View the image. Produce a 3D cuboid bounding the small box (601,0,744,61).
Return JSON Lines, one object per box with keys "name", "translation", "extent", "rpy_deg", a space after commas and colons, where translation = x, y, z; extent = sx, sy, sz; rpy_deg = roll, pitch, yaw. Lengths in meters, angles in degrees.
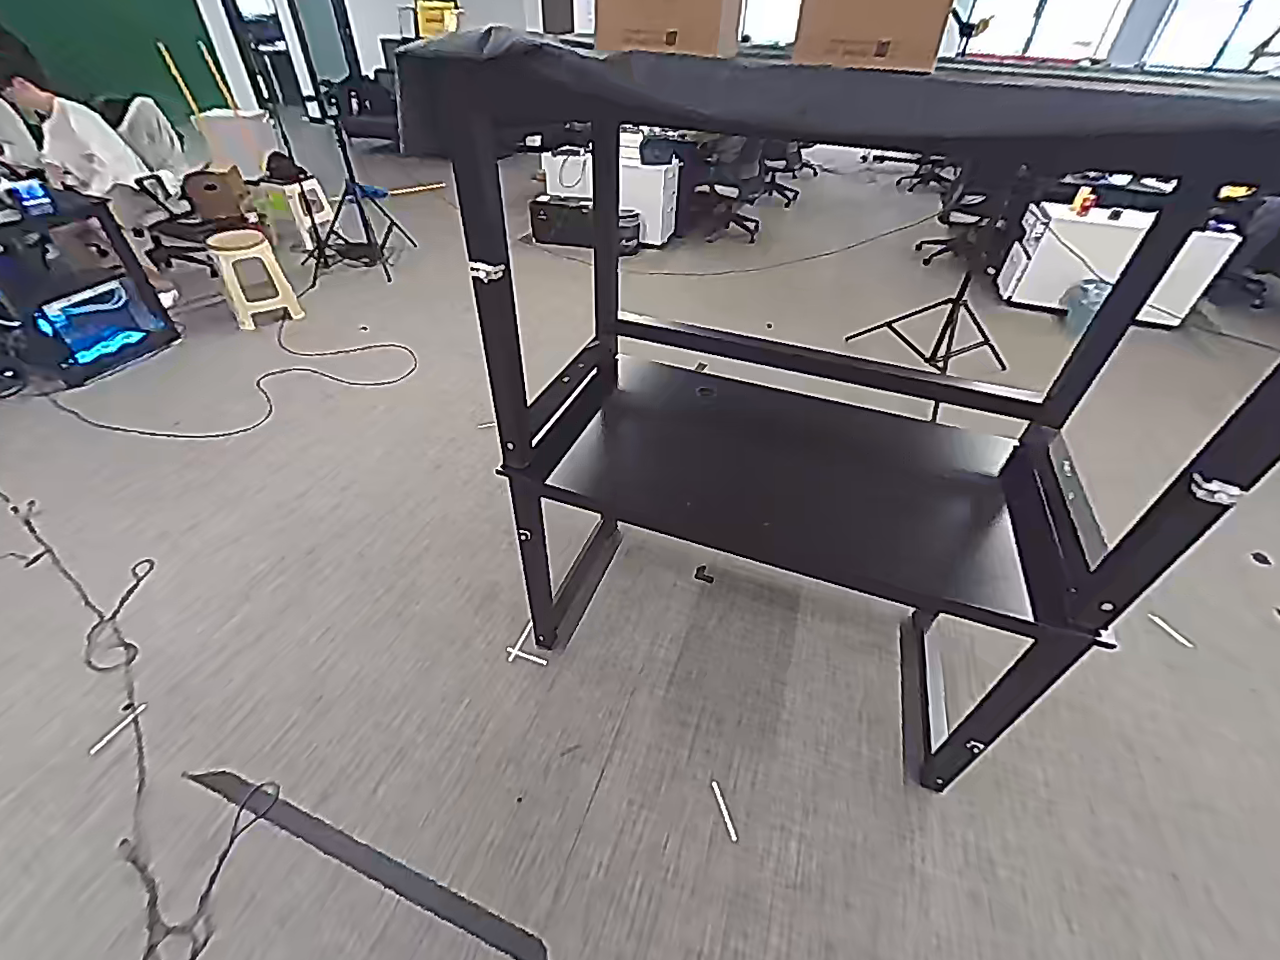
{"name": "small box", "translation": [0.049, -0.659, 0.706], "extent": [0.168, 0.176, 0.179], "rpy_deg": [13, 41, 10]}
